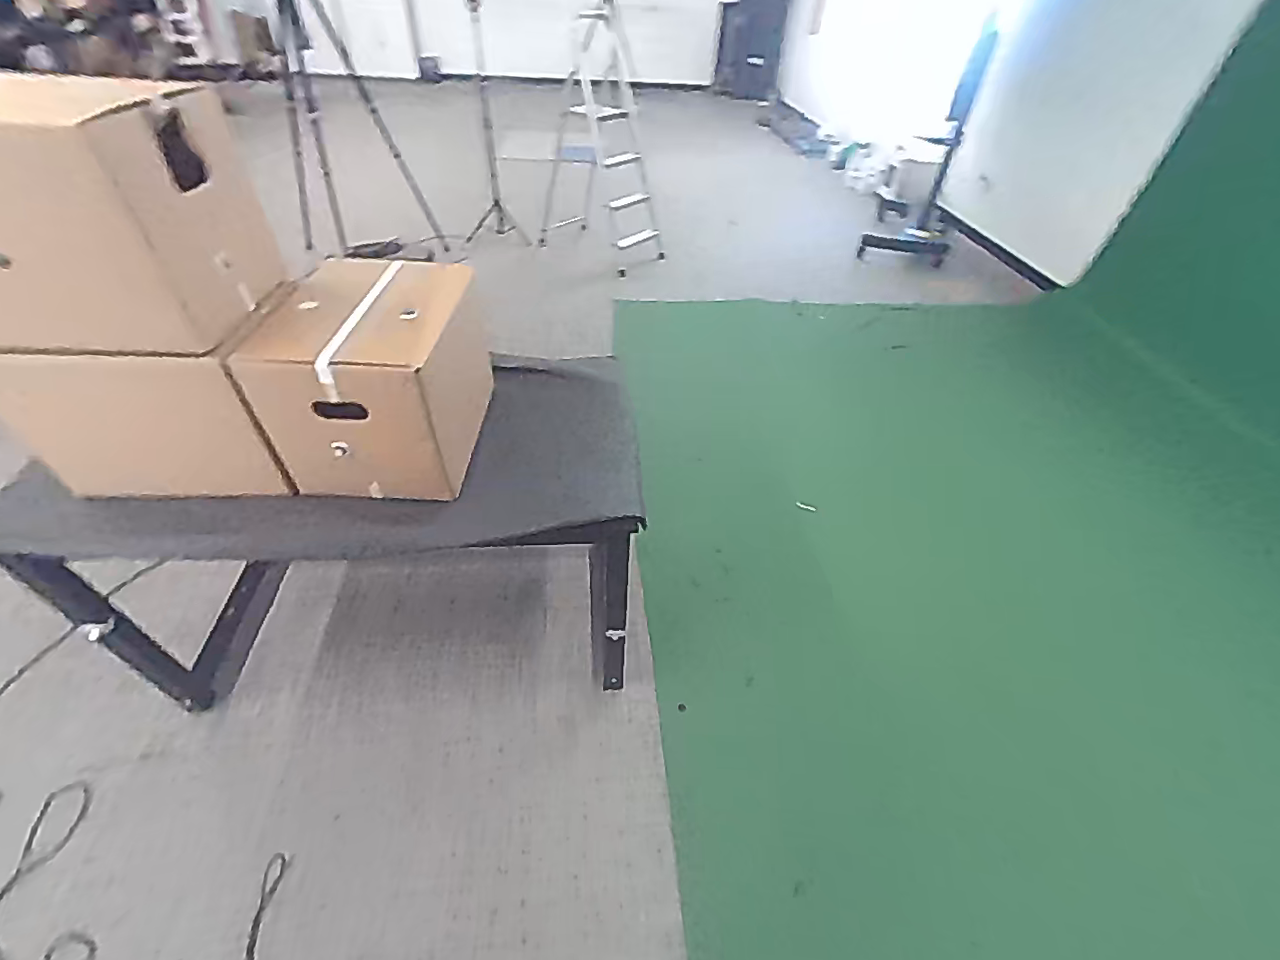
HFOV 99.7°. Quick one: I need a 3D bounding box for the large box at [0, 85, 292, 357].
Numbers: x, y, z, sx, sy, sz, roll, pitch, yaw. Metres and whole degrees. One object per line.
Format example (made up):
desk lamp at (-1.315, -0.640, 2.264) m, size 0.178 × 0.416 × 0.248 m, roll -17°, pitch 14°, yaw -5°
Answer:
large box at (-0.867, -0.408, 0.853) m, size 0.408 × 0.320 × 0.320 m, roll 0°, pitch 42°, yaw -3°
